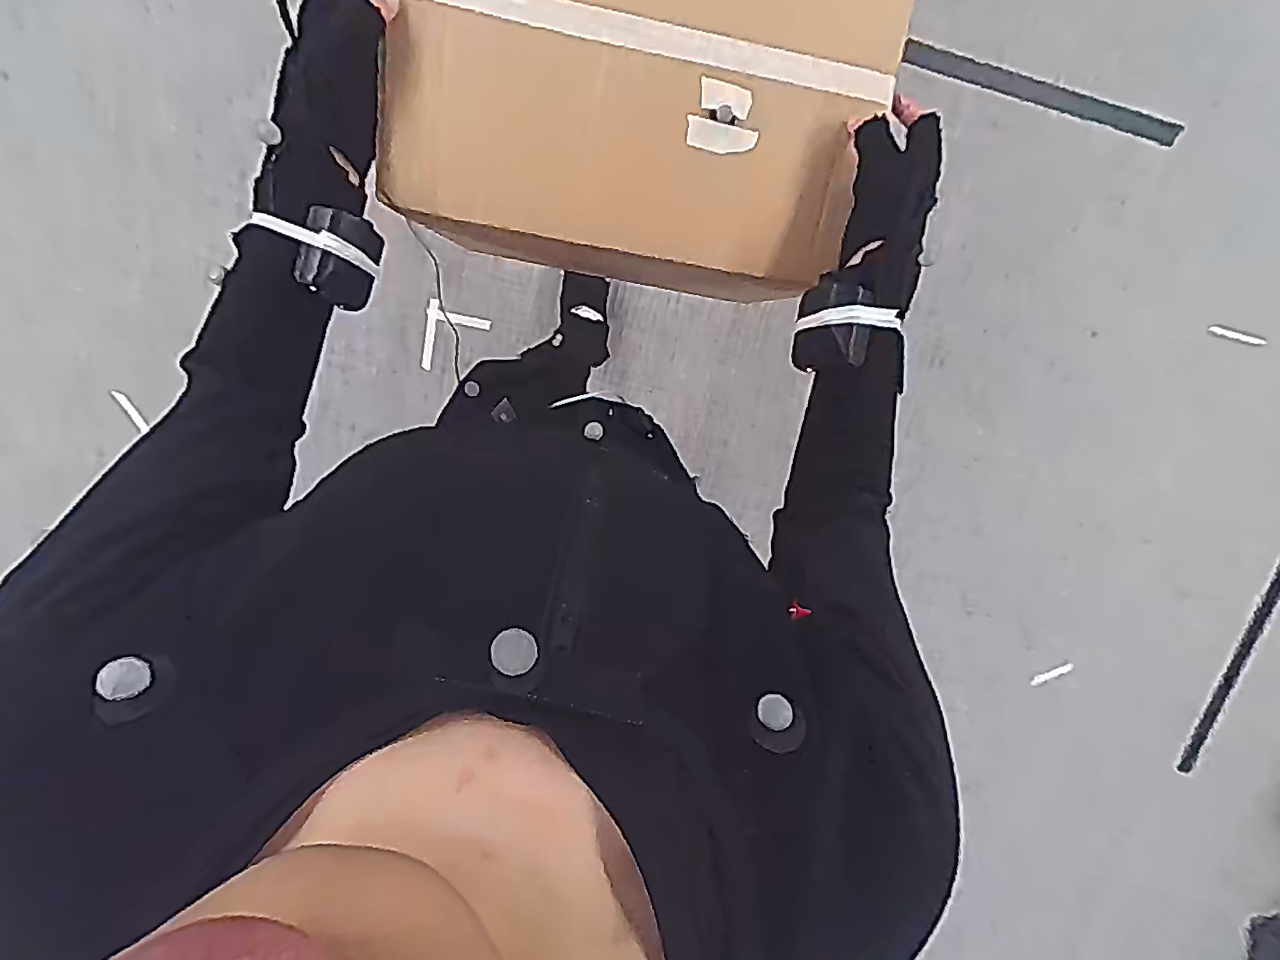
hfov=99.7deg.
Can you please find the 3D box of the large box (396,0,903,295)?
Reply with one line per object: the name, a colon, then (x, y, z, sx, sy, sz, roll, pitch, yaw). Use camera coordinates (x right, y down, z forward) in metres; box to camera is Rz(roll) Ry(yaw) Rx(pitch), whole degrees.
large box: (-0.003, -0.396, 0.580, 0.408, 0.320, 0.320, 8, 106, -7)
